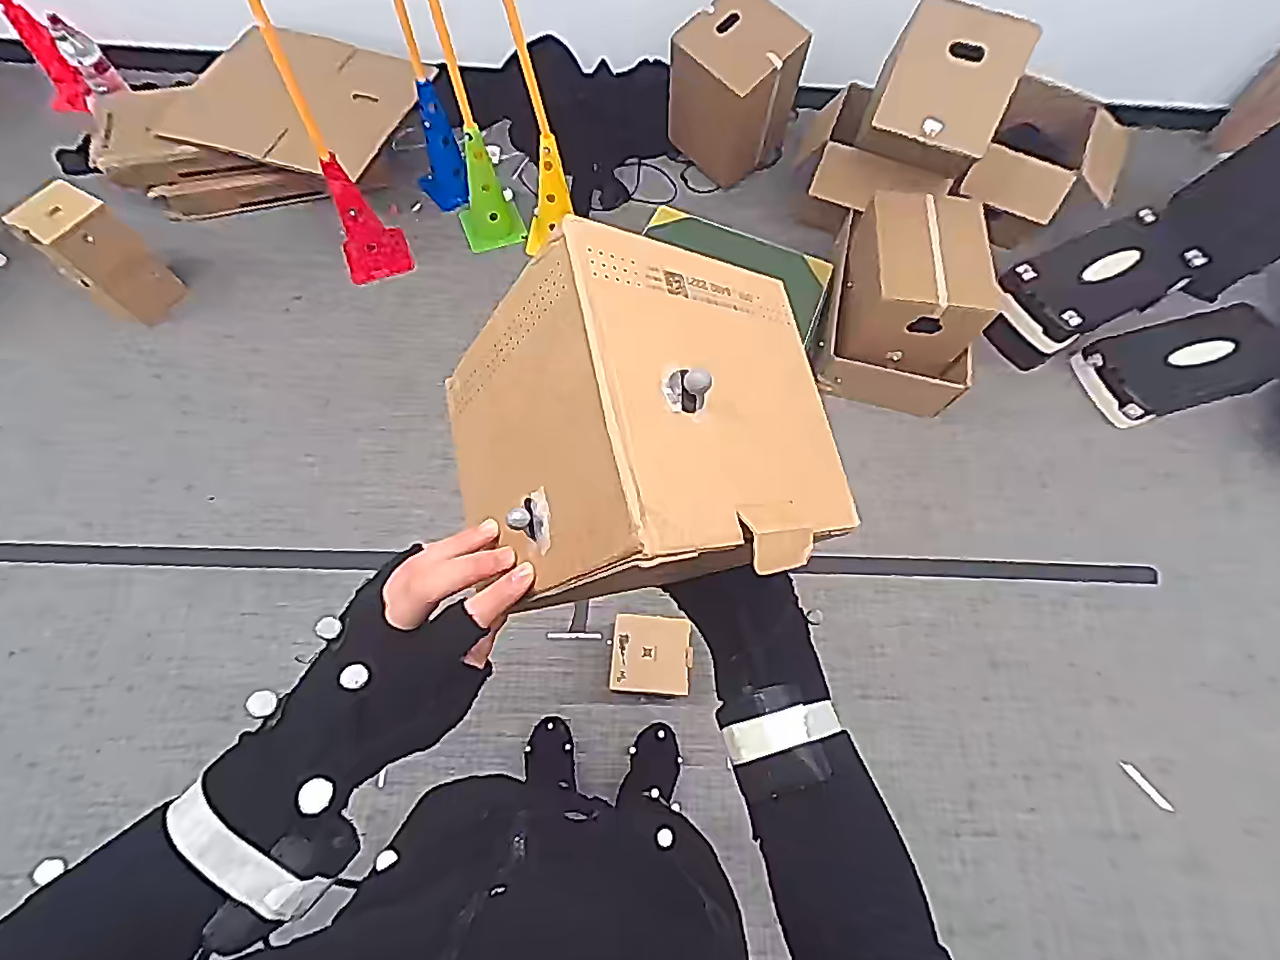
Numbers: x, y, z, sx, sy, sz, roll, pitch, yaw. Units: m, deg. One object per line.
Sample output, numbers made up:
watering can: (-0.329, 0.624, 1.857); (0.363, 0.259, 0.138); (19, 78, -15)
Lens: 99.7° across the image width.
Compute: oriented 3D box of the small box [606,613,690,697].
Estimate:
small box: (0.016, 0.421, 1.289); (0.179, 0.176, 0.168); (7, 67, -2)

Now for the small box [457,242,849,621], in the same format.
small box: (-0.005, -0.018, 0.348); (0.168, 0.179, 0.176); (-1, 73, -40)
